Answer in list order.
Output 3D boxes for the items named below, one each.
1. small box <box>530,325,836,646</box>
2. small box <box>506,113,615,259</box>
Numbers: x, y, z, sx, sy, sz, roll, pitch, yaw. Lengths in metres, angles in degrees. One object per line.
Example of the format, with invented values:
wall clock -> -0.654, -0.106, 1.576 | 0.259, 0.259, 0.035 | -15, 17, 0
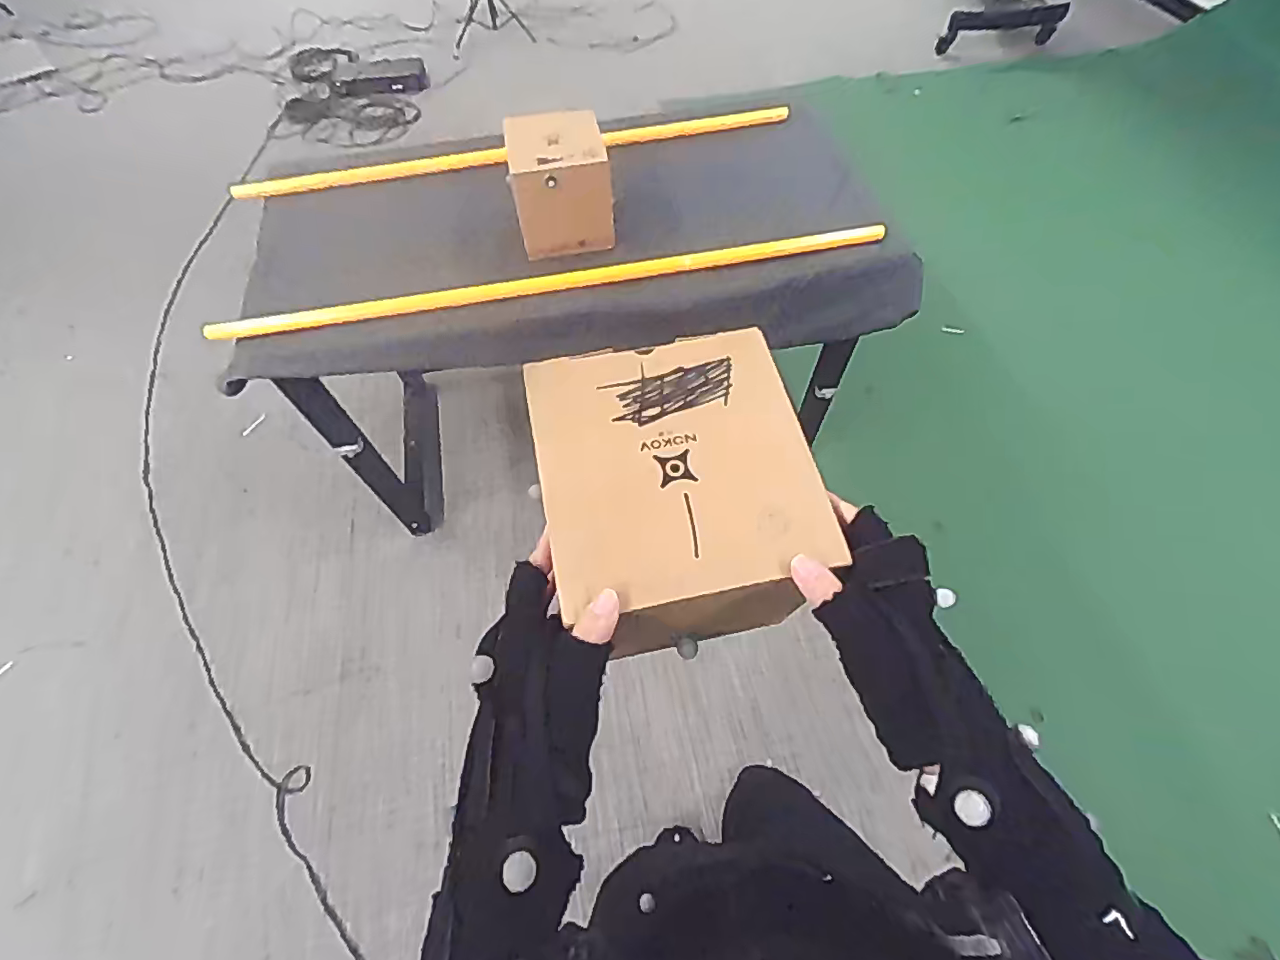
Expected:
small box -> 0.018, 0.013, 0.413 | 0.168, 0.176, 0.179 | -10, 66, -5
small box -> -0.145, -0.540, 1.001 | 0.168, 0.176, 0.179 | -11, 59, -4
